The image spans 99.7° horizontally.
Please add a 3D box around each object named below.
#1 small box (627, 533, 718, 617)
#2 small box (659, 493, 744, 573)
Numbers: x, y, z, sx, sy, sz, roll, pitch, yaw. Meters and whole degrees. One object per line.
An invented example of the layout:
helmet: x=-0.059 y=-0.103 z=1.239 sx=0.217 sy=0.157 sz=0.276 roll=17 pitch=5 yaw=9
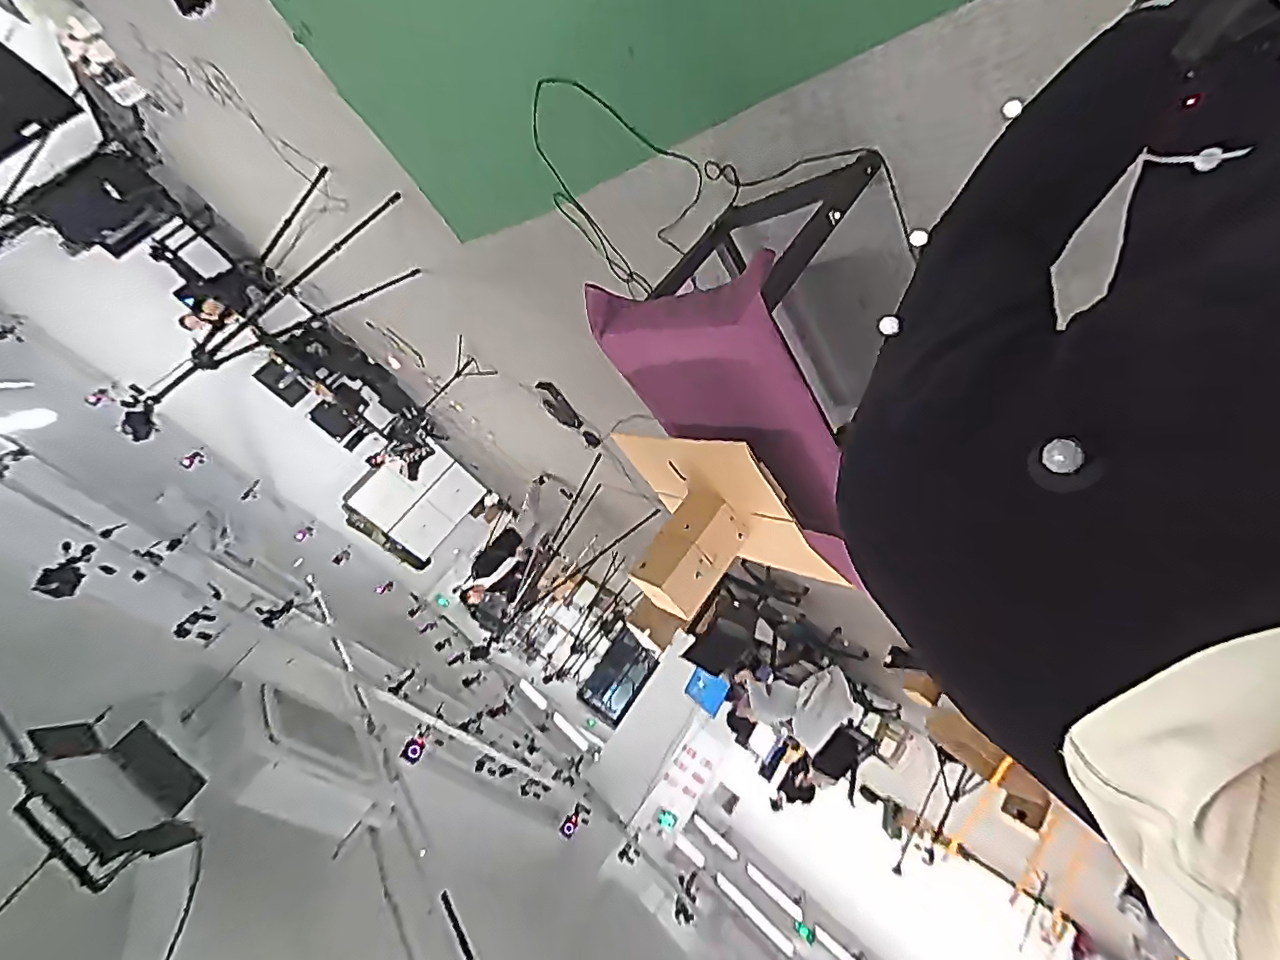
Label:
small box: x=0.101 y=0.280 z=1.635 sx=0.179 sy=0.176 sz=0.168 roll=10 pitch=145 yaw=53
small box: x=0.200 y=0.160 z=1.687 sx=0.179 sy=0.176 sz=0.168 roll=12 pitch=146 yaw=54
